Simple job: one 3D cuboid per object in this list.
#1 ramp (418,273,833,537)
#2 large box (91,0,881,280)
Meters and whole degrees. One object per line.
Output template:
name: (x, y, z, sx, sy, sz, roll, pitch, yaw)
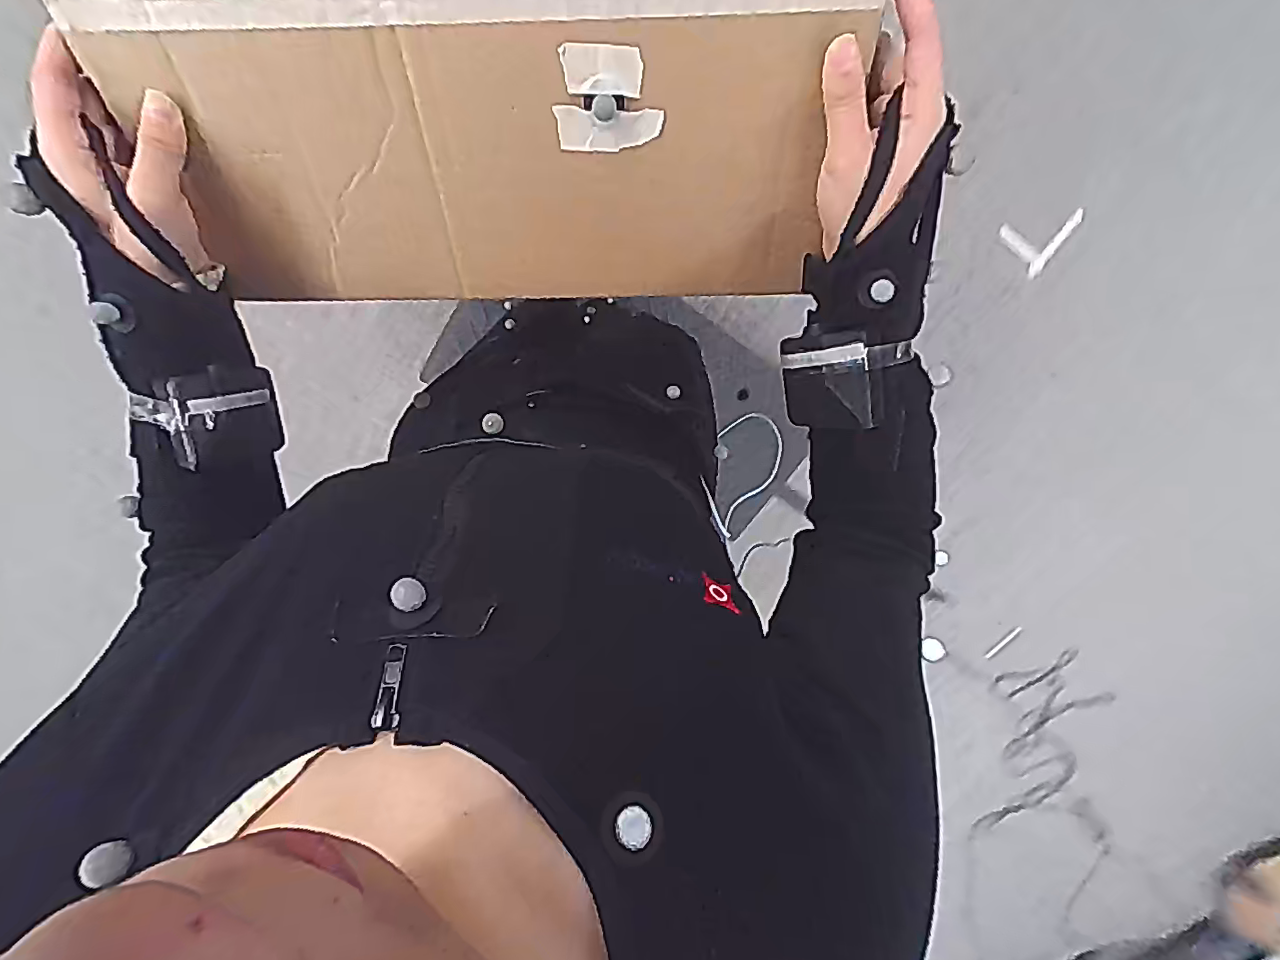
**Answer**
ramp: (0.019, -0.221, 1.382, 0.991, 0.206, 0.509, 30, 107, -15)
large box: (-0.078, -0.354, 0.368, 0.408, 0.320, 0.320, 0, 136, 0)
